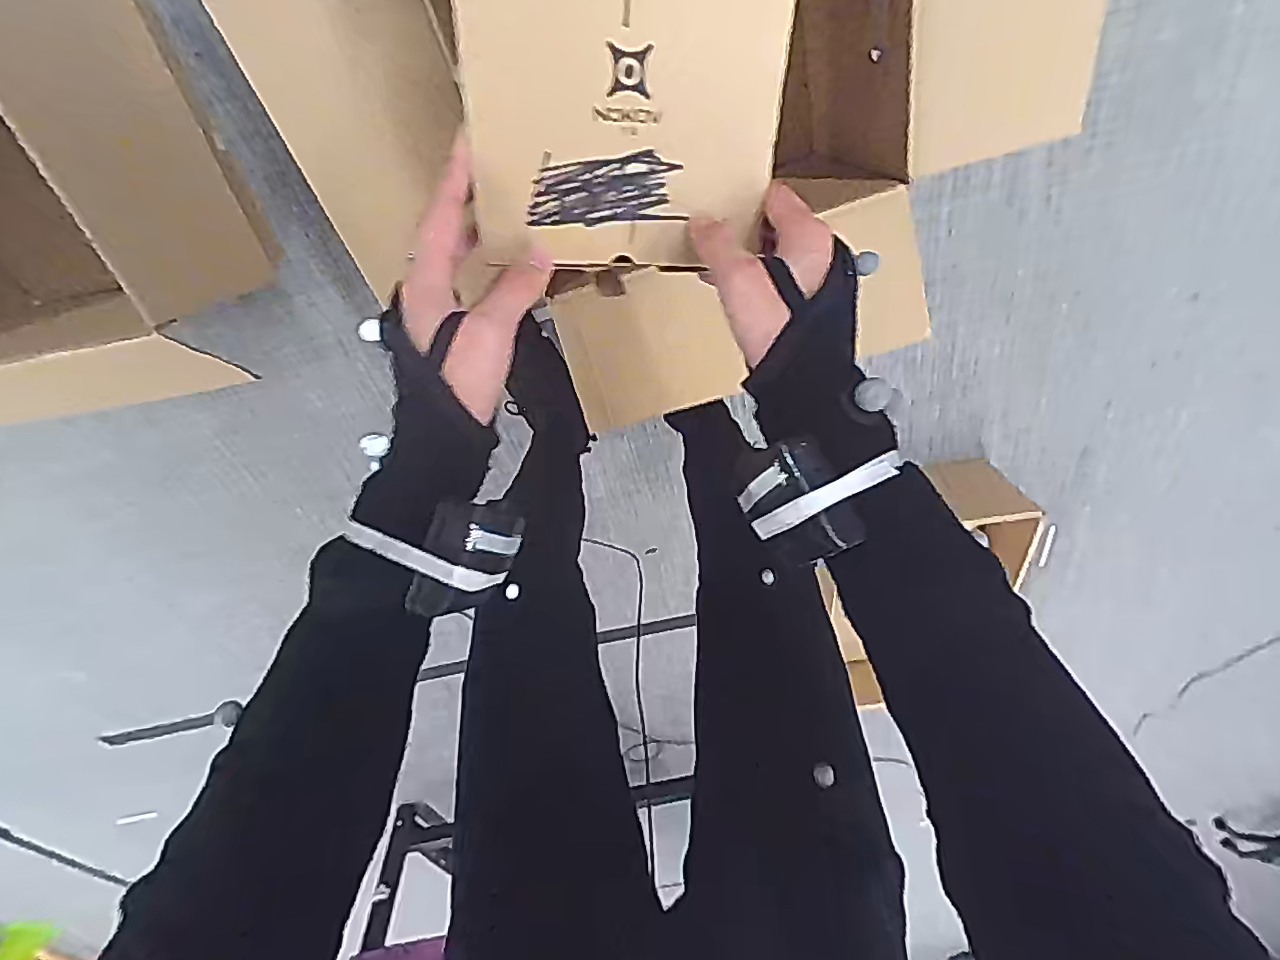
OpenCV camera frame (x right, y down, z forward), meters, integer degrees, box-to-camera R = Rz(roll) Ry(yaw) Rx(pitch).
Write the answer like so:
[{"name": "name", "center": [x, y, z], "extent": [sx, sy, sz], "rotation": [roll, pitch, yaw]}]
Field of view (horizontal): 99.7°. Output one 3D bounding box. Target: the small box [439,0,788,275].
[{"name": "small box", "center": [-0.021, -0.239, 0.337], "extent": [0.168, 0.176, 0.179], "rotation": [-1, 122, -8]}]
